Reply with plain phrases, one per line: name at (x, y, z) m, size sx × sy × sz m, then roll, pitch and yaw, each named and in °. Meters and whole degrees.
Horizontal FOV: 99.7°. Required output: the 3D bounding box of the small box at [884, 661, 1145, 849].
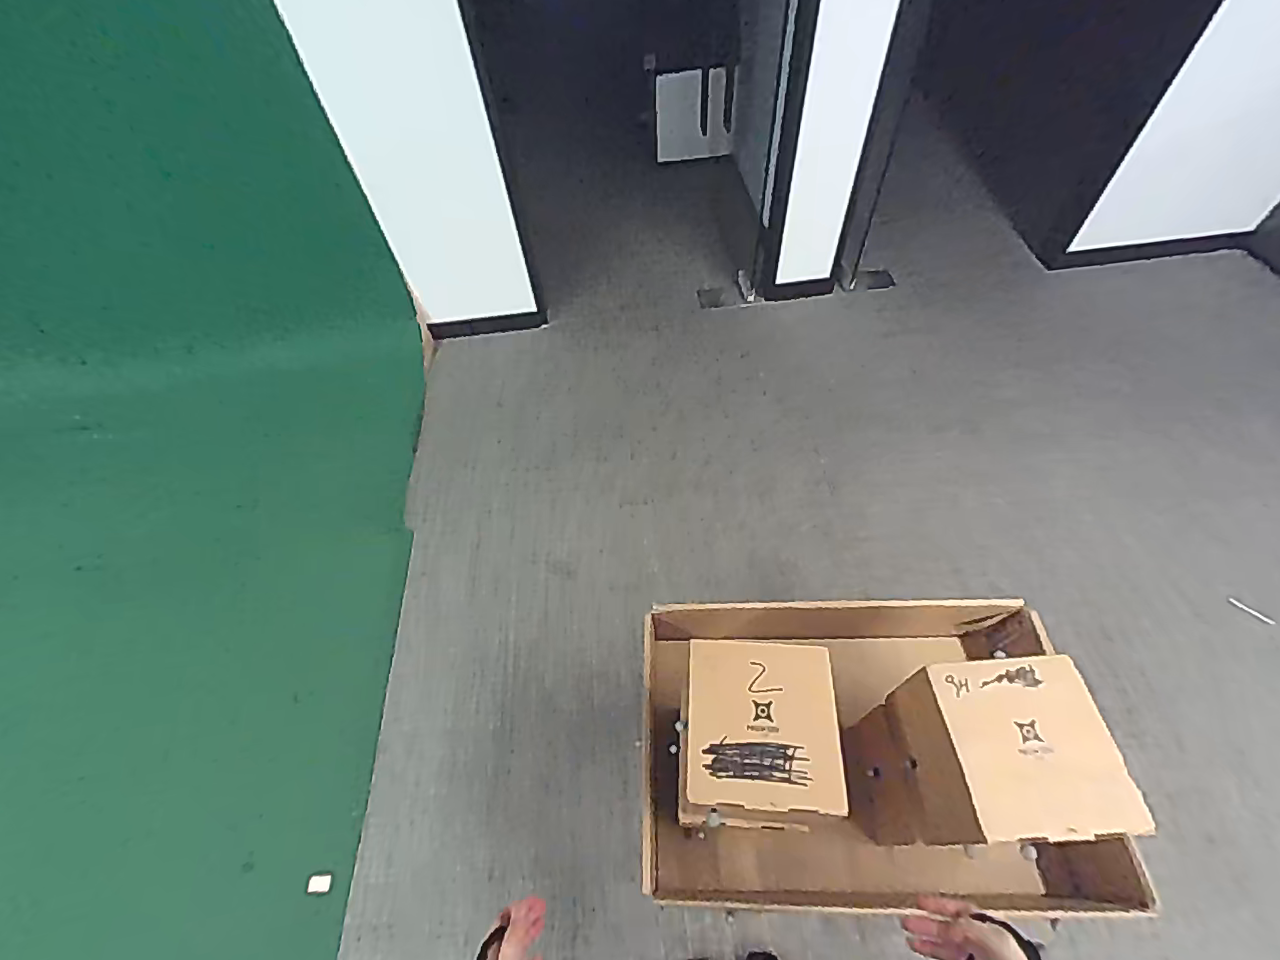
small box at (0.416, 0.328, 0.642) m, size 0.168 × 0.176 × 0.179 m, roll -3°, pitch 56°, yaw 2°
